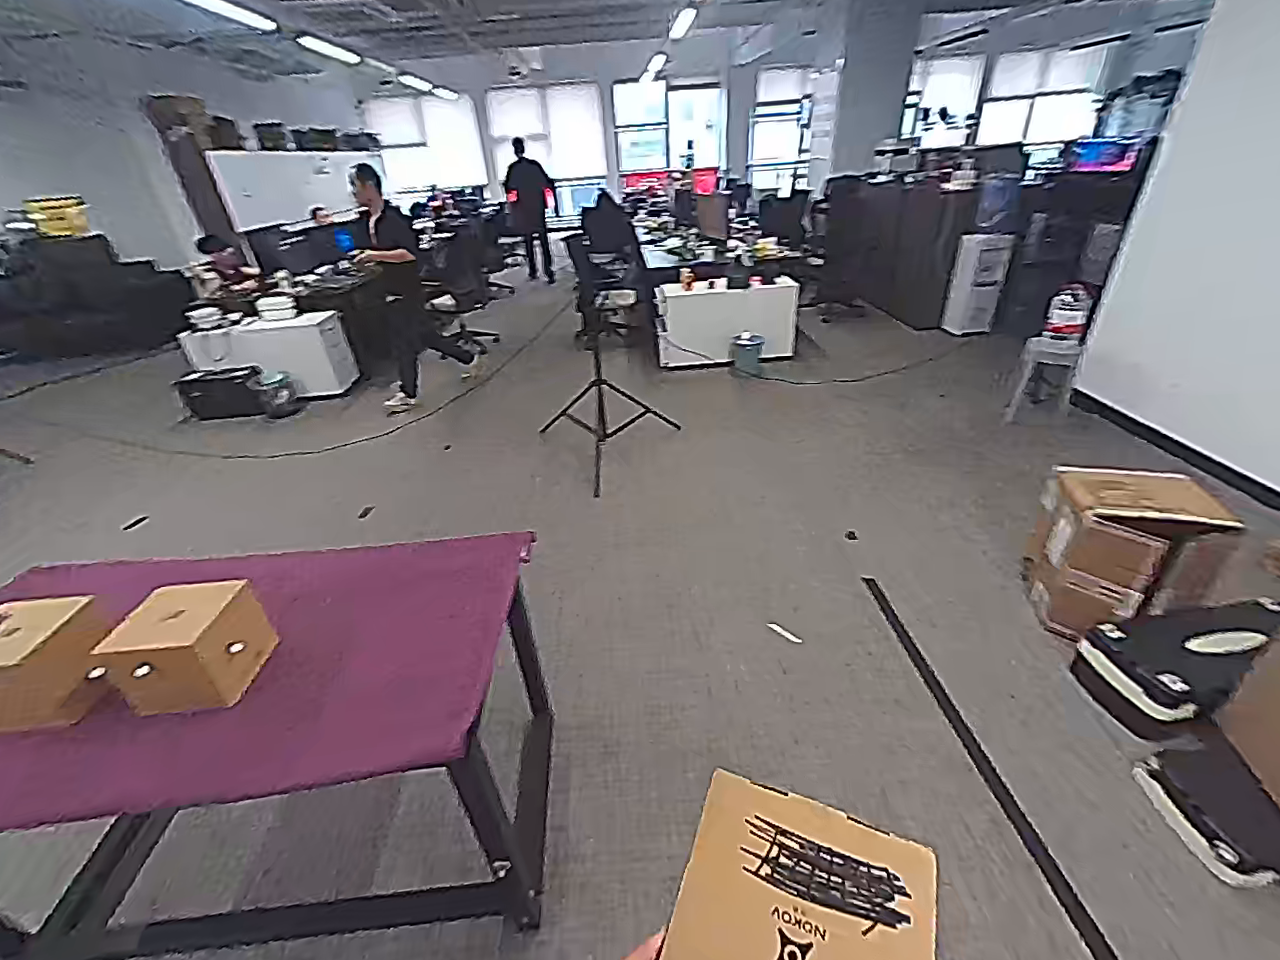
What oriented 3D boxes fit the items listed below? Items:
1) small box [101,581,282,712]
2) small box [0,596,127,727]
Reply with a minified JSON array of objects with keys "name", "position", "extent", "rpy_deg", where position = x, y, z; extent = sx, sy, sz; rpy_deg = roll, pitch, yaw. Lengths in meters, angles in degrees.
[{"name":"small box","position":[-0.828,0.315,1.026],"extent":[0.179,0.176,0.168],"rpy_deg":[-5,30,-1]},{"name":"small box","position":[-1.111,0.342,1.016],"extent":[0.179,0.176,0.168],"rpy_deg":[-4,31,-1]}]
